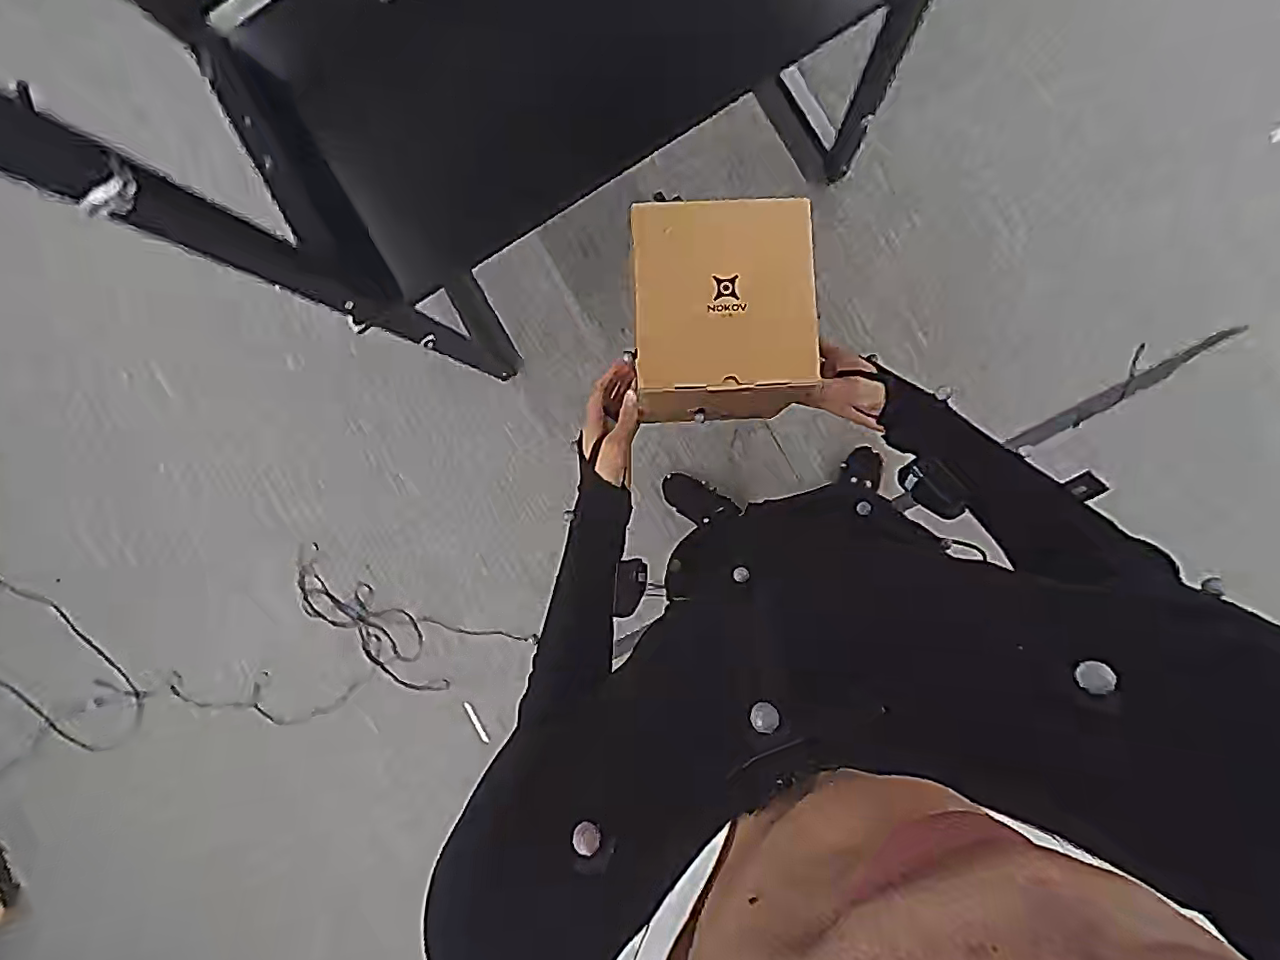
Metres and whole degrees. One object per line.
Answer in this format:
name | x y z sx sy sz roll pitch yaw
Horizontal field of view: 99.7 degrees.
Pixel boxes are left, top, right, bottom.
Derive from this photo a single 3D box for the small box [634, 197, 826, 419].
small box | 0.080 -0.165 0.563 0.168 0.176 0.179 -2 88 -2
